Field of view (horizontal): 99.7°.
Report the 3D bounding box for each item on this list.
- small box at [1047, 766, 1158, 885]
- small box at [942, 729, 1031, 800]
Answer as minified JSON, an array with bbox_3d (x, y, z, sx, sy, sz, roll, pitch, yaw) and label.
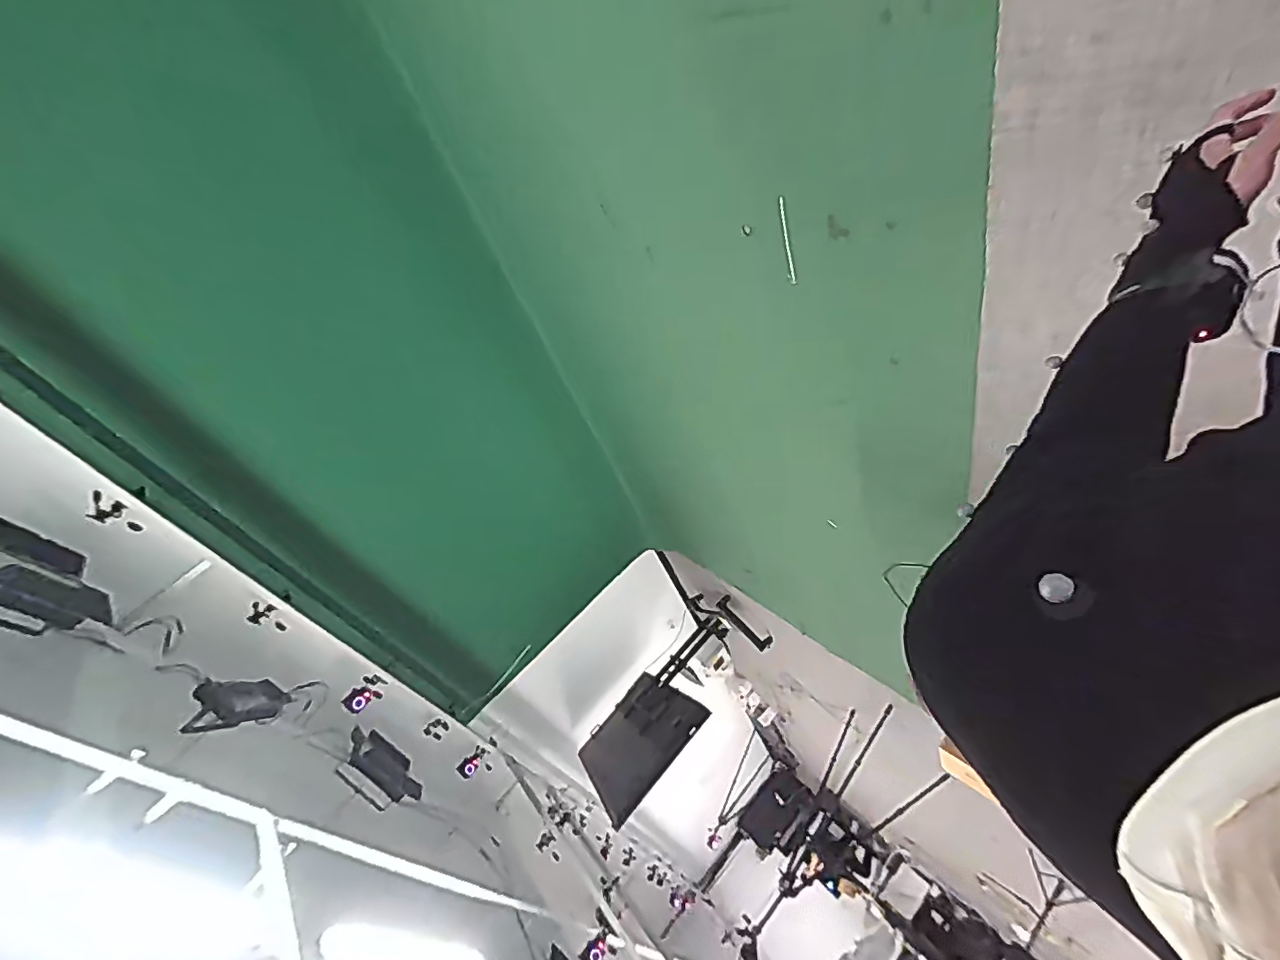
[{"bbox_3d":[1.236,0.912,1.445,0.179,0.176,0.168,54,161,-22],"label":"small box"},{"bbox_3d":[1.064,0.829,1.663,0.179,0.176,0.168,23,150,49],"label":"small box"}]
